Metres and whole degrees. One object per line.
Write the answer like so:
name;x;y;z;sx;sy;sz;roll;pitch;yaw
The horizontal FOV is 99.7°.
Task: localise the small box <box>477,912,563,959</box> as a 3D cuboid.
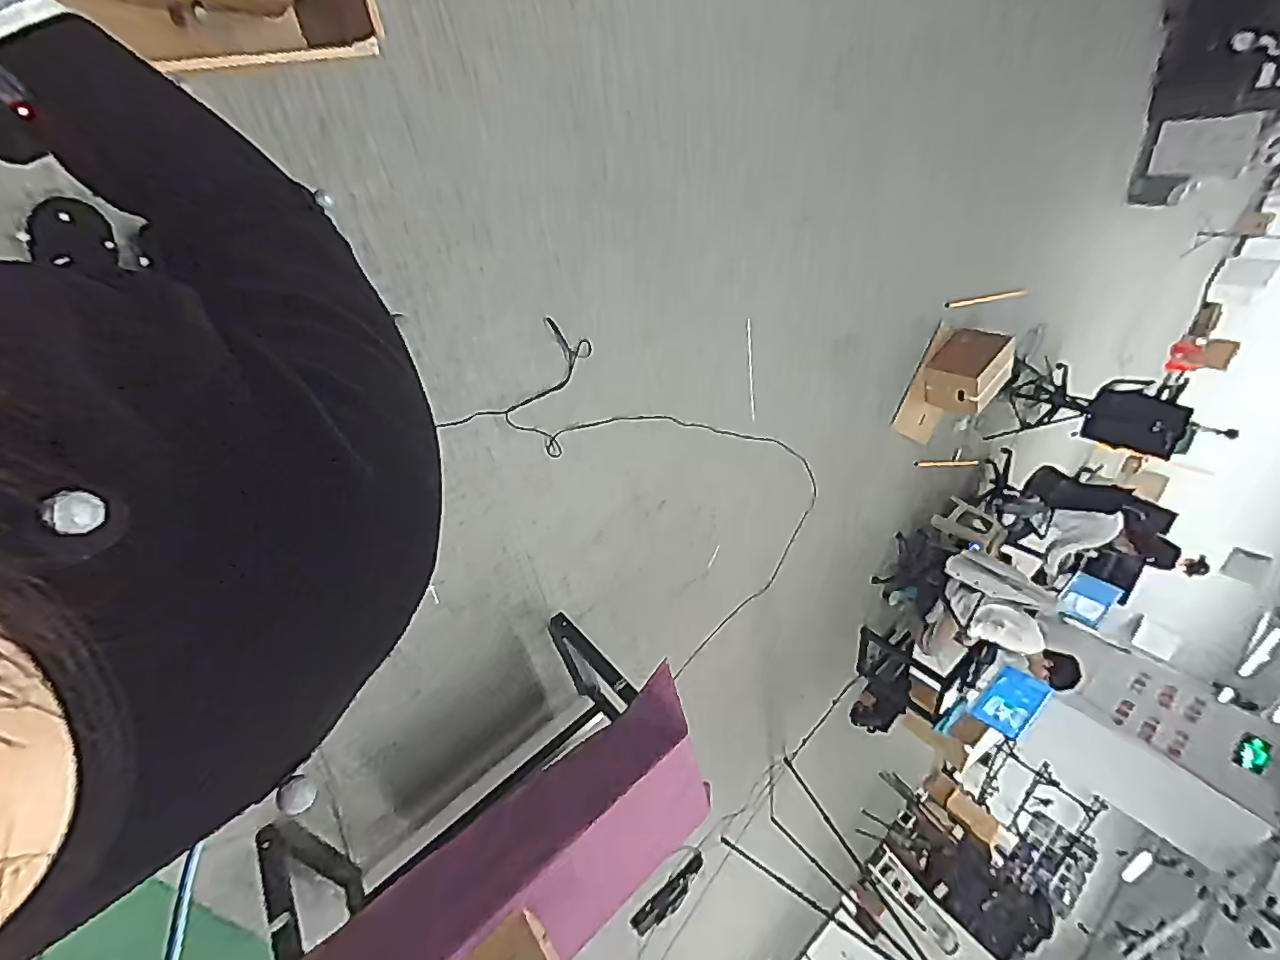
small box;-0.301;1.275;1.394;0.179;0.176;0.168;-35;131;-24
